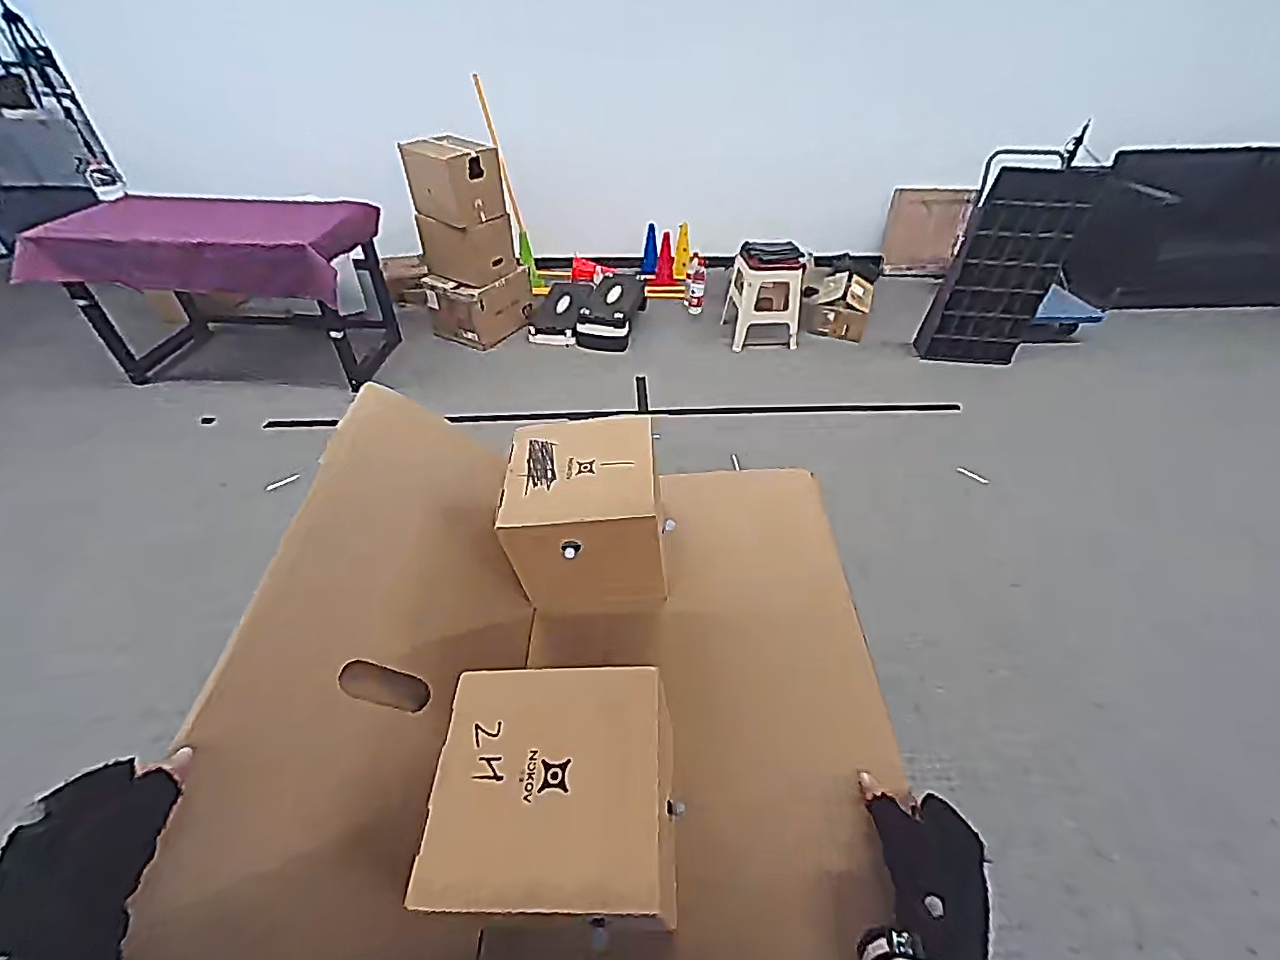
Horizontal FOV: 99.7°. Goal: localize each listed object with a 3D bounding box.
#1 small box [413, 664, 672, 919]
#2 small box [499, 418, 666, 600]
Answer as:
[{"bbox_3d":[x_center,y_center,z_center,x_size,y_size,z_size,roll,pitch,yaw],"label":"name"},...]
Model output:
[{"bbox_3d":[-0.062,0.277,0.481,0.179,0.176,0.168,-3,47,6],"label":"small box"},{"bbox_3d":[-0.061,0.042,0.699,0.179,0.176,0.168,-4,47,4],"label":"small box"}]
